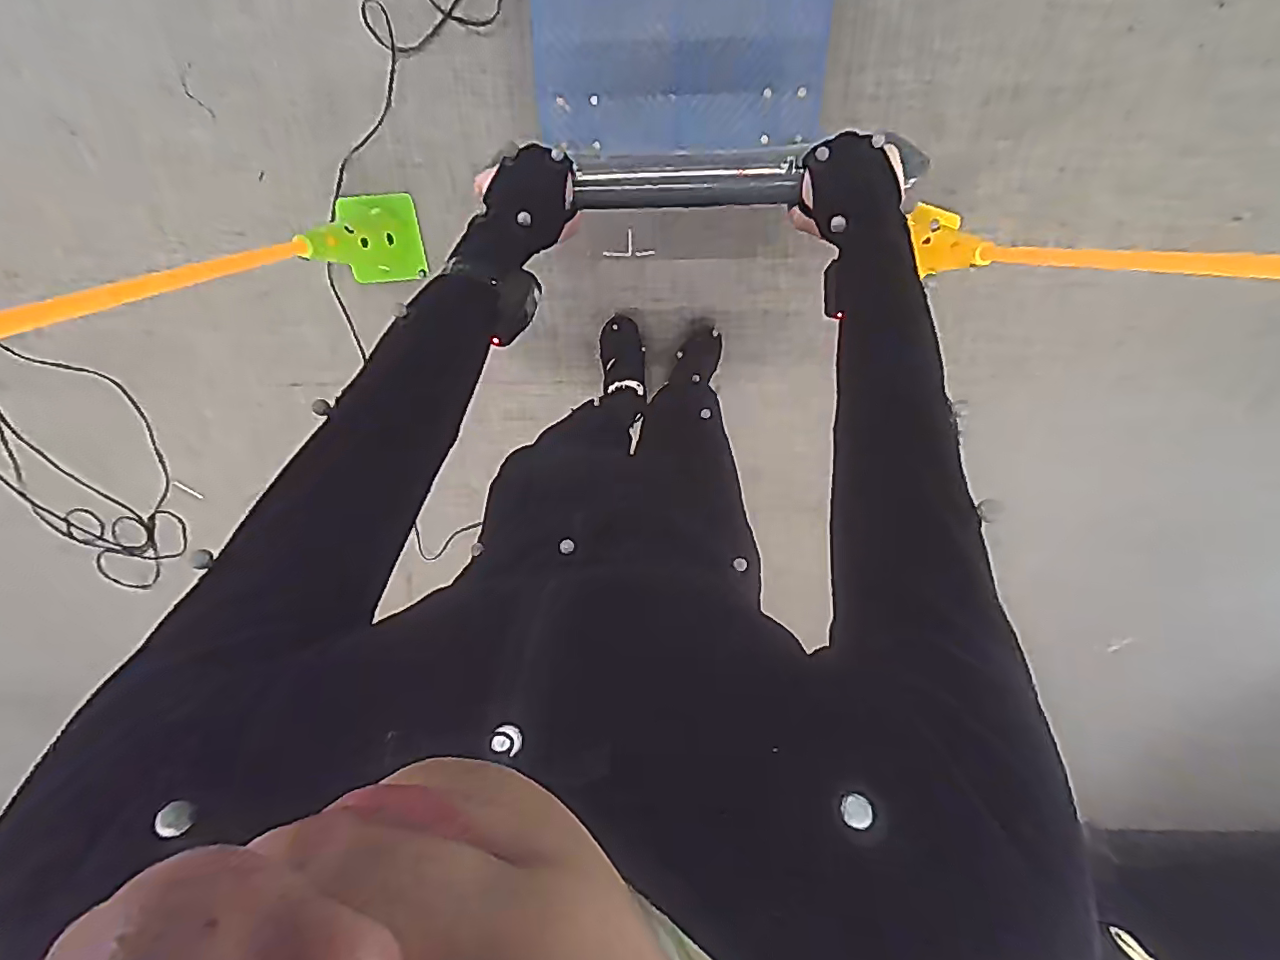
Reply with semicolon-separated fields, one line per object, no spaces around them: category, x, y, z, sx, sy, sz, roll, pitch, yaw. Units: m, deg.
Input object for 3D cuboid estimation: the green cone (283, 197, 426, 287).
green cone;-0.668;-0.530;1.222;0.202;0.368;0.200;-3;115;5
